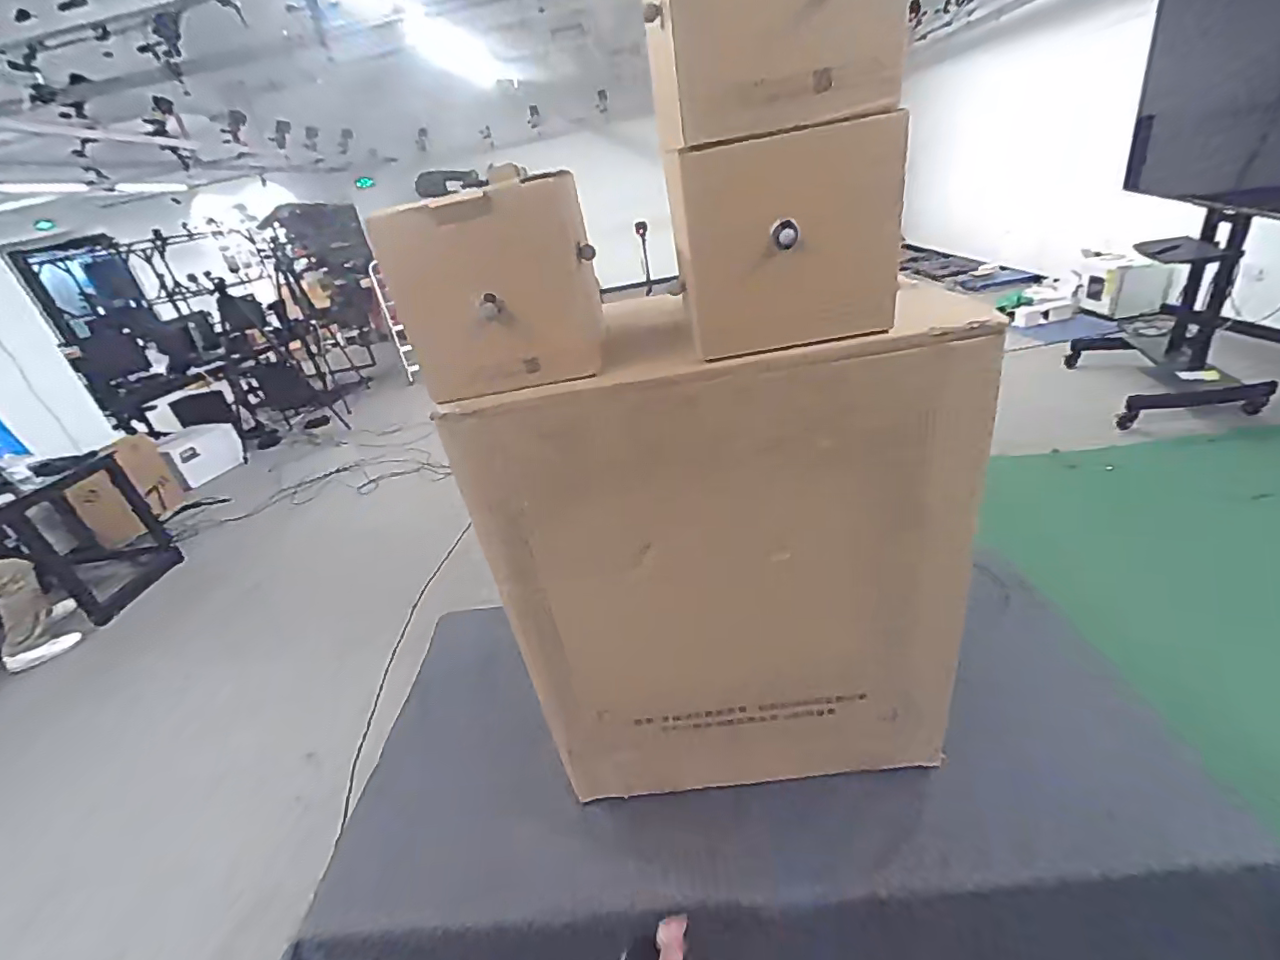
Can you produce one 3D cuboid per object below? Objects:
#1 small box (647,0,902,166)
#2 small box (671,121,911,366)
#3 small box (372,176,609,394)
[{"bbox_3d":[0.099,-0.364,0.441,0.168,0.176,0.179,-8,28,0],"label":"small box"},{"bbox_3d":[0.128,-0.222,0.513,0.179,0.176,0.168,-8,29,5],"label":"small box"},{"bbox_3d":[-0.129,-0.194,0.548,0.168,0.176,0.179,-8,30,4],"label":"small box"}]
